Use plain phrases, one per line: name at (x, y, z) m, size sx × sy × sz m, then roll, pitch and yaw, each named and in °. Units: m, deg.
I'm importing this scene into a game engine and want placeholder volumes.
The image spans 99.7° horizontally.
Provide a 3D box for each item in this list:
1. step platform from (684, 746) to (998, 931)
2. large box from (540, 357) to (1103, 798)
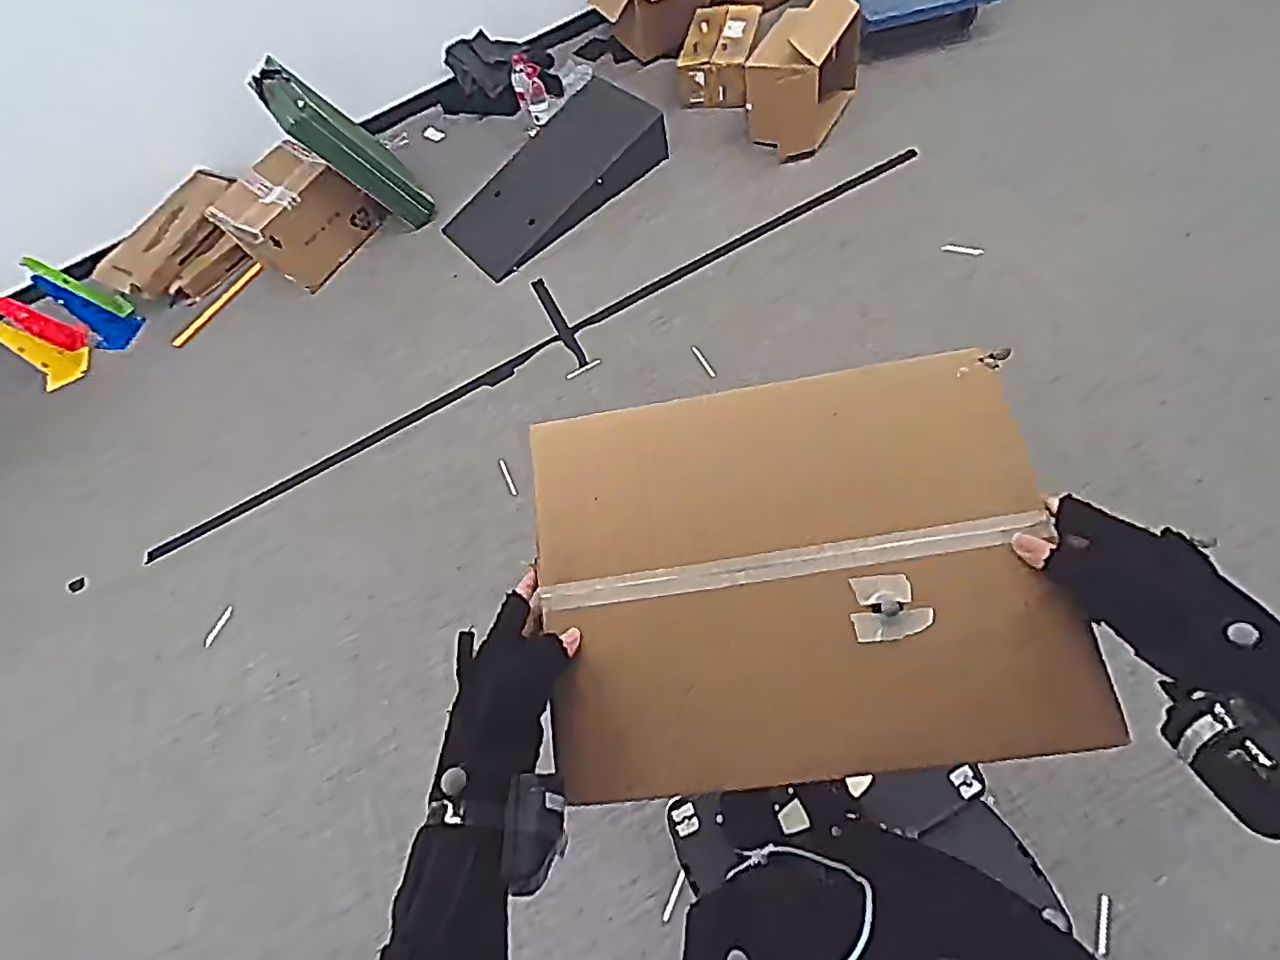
step platform at (0.445, 0.710, 1.254) m, size 0.684 × 0.204 × 0.286 m, roll -29°, pitch 63°, yaw -4°
large box at (0.138, 0.111, 0.589) m, size 0.408 × 0.320 × 0.320 m, roll -10°, pitch 74°, yaw 5°
